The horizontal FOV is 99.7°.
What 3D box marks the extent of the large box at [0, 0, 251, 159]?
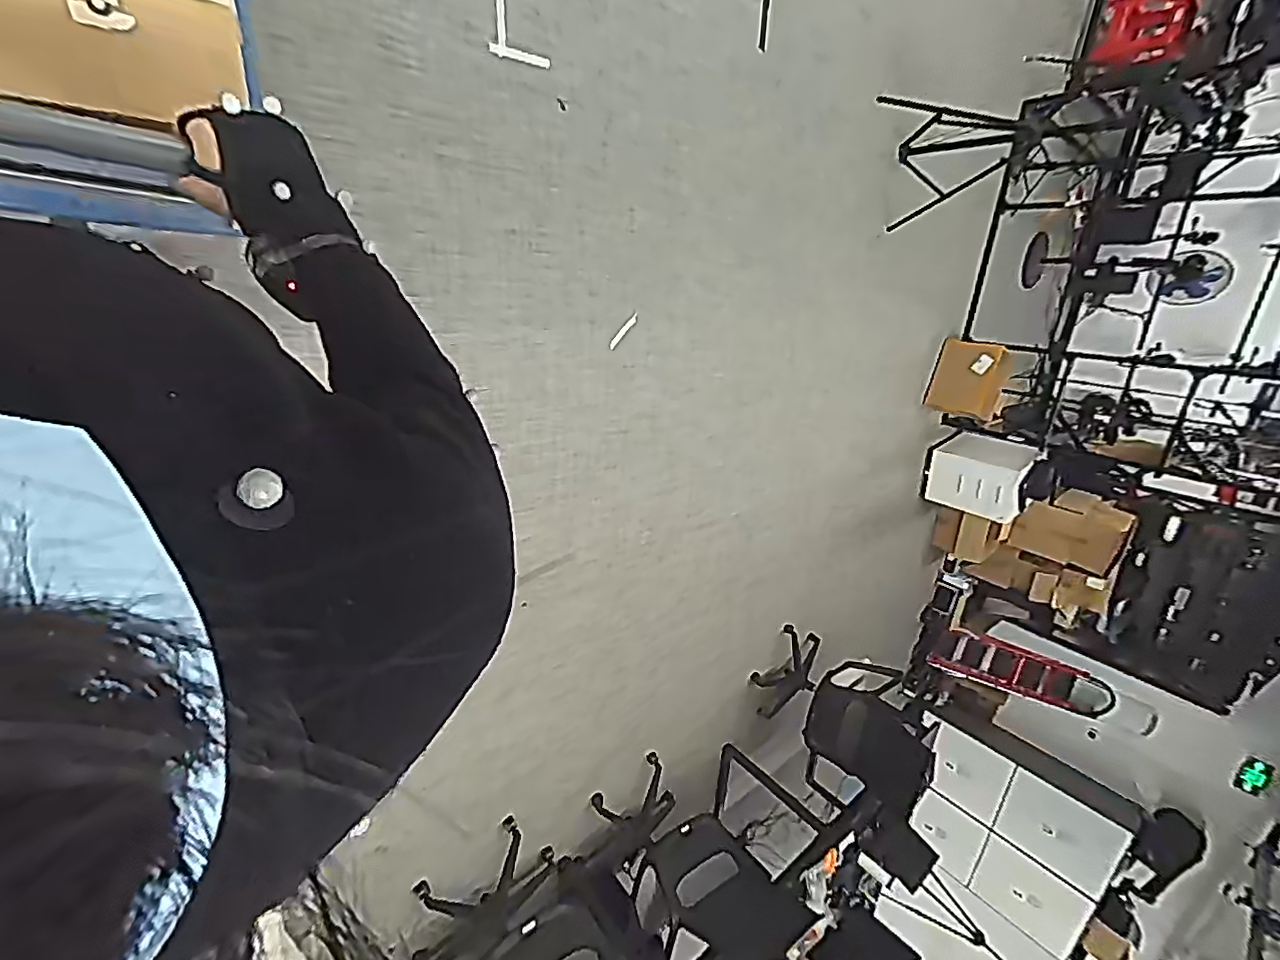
[{"bbox_3d":[-0.794,-0.634,0.693,0.408,0.320,0.320,-15,118,-40],"label":"large box"}]
